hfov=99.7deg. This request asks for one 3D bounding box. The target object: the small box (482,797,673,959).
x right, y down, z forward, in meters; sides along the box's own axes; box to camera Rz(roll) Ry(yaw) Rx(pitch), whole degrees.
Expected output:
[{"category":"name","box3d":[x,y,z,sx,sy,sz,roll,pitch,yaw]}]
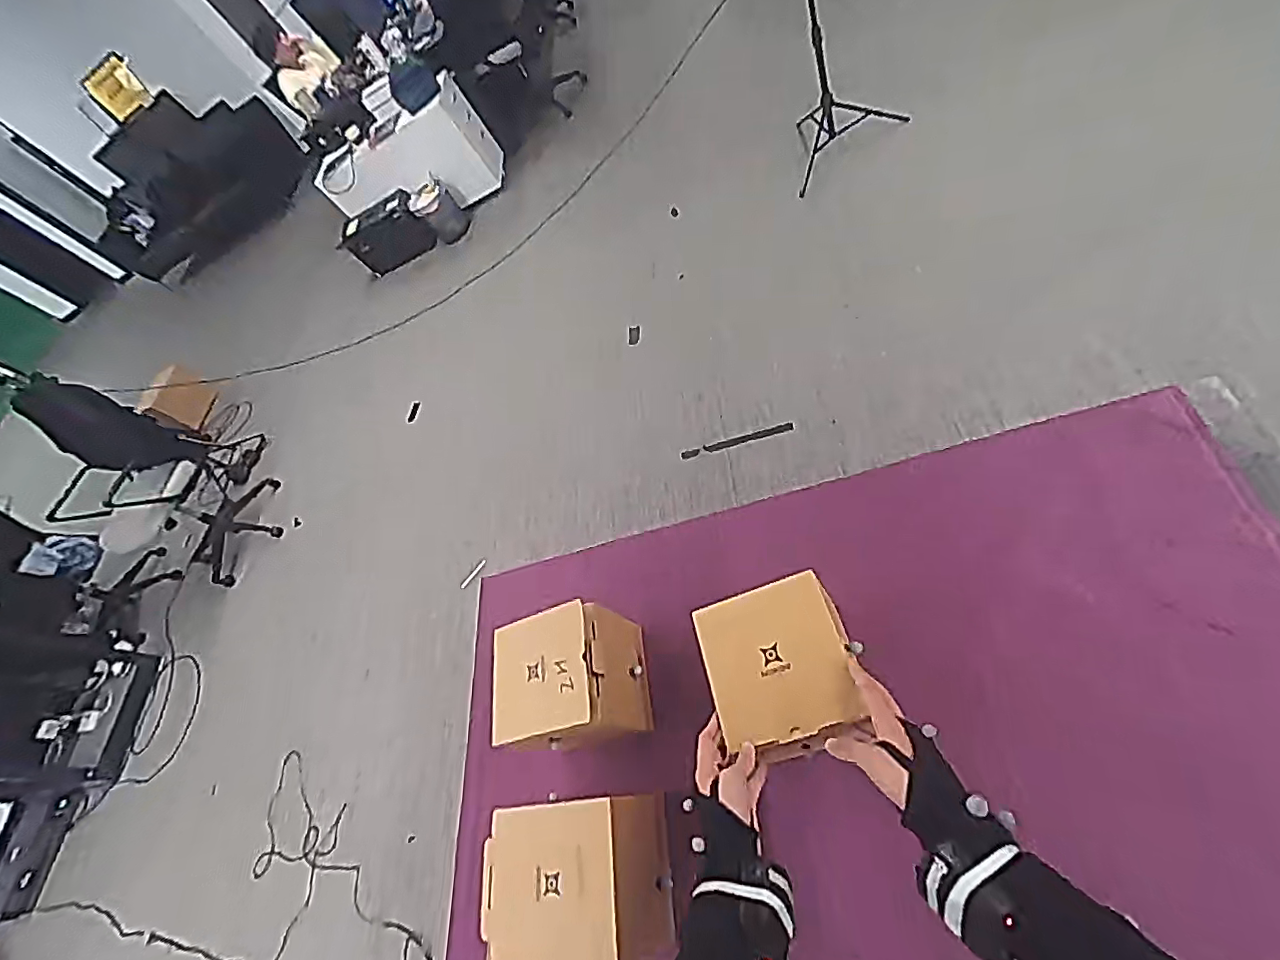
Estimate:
[{"category":"small box","box3d":[-0.074,0.508,0.693,0.179,0.176,0.168,-17,57,19]}]

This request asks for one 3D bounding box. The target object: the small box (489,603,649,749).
[{"category":"small box","box3d":[-0.105,0.306,0.822,0.179,0.176,0.168,-19,57,18]}]
